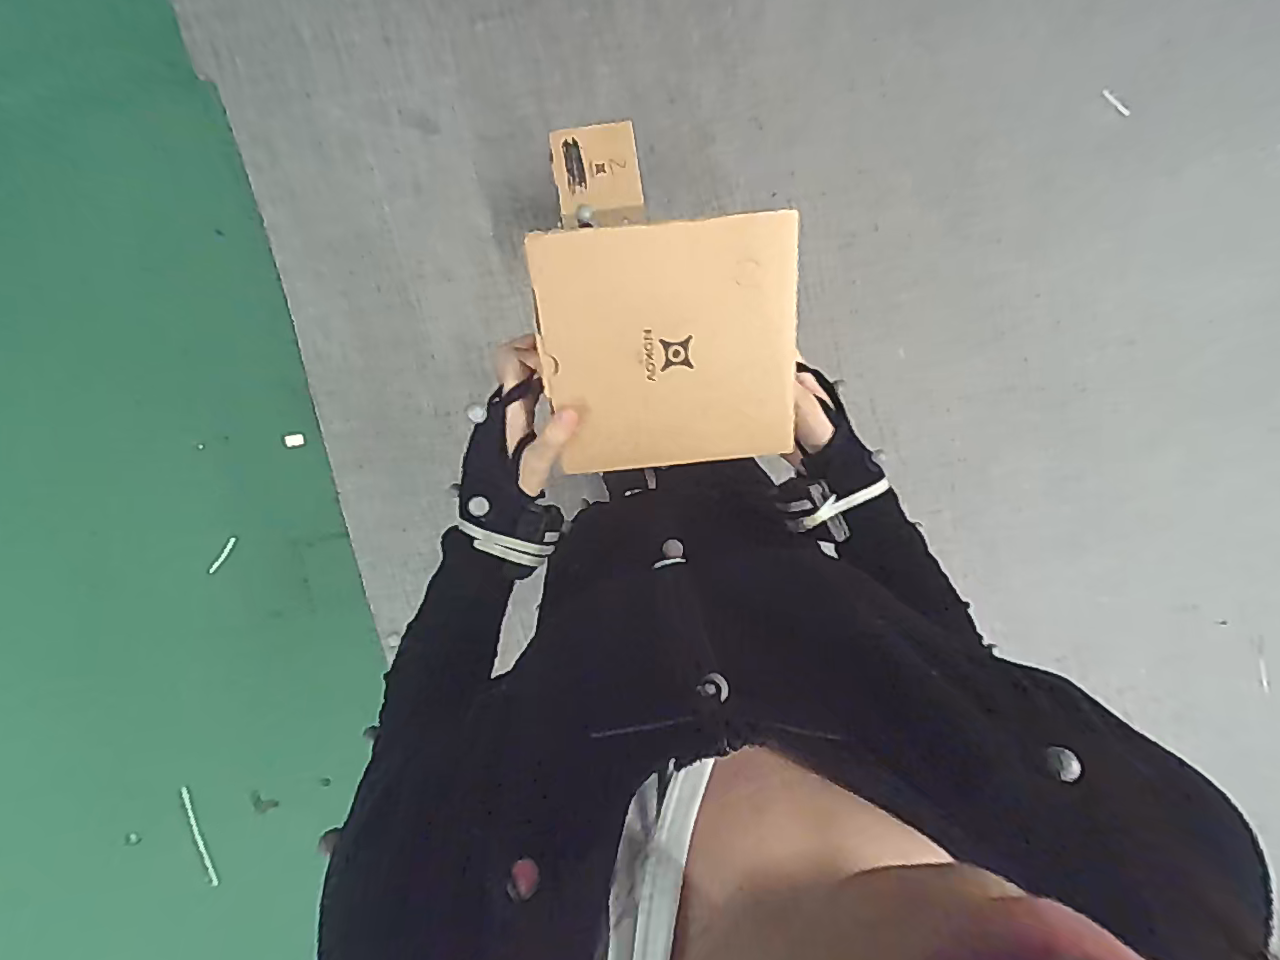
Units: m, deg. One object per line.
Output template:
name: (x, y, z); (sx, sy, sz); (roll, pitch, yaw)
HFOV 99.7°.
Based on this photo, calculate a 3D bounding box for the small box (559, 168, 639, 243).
small box: (-0.100, -0.650, 1.349); (0.179, 0.176, 0.168); (-8, 96, -2)

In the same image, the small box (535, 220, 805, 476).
small box: (0.023, -0.118, 0.448); (0.179, 0.176, 0.168); (-6, 115, 2)
